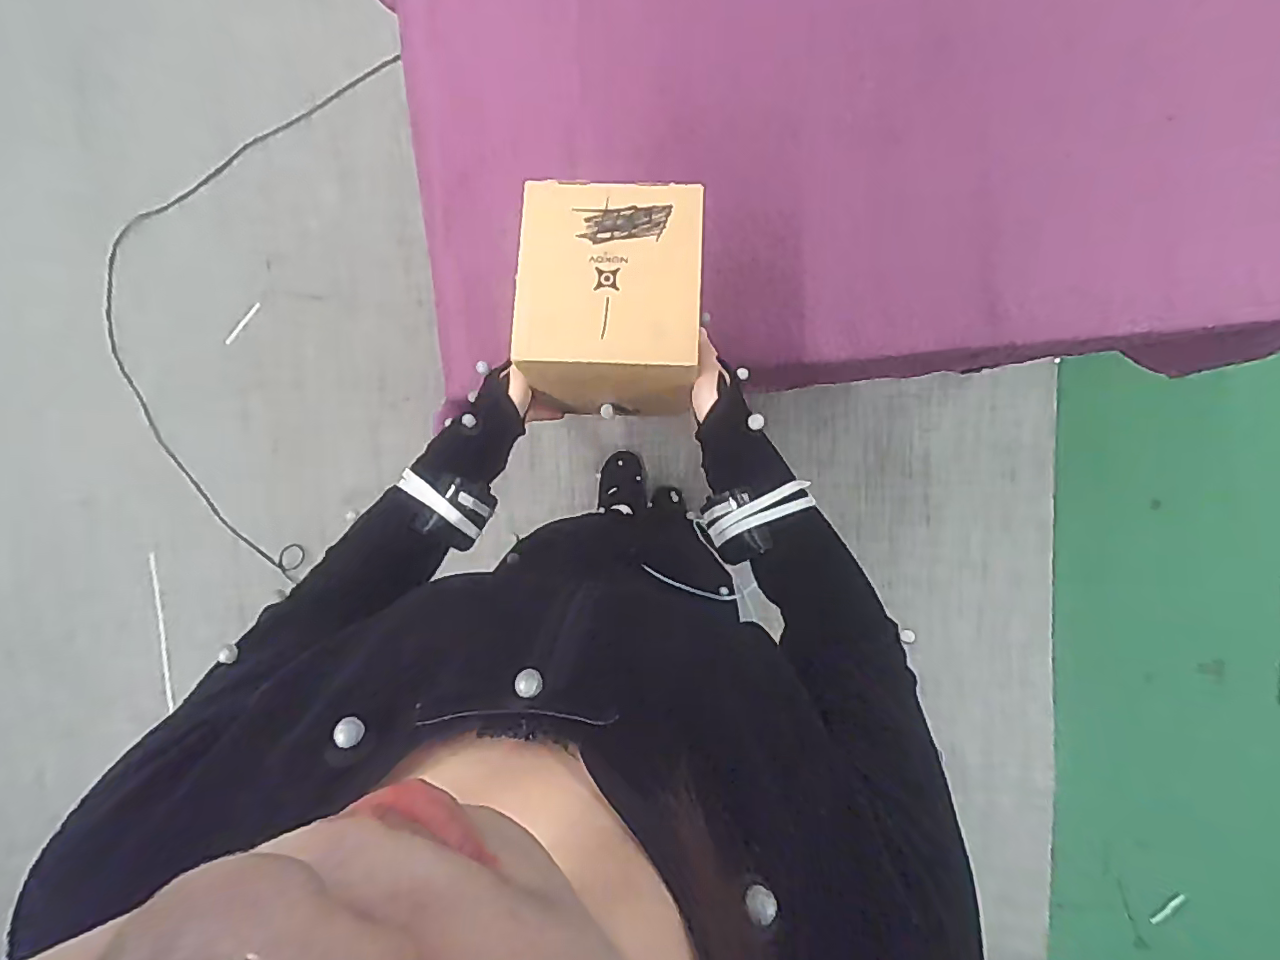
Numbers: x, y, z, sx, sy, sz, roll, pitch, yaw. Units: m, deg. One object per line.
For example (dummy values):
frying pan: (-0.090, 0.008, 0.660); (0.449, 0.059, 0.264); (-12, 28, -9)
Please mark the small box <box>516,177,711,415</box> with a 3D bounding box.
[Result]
small box: (-0.022, -0.177, 0.563); (0.168, 0.176, 0.179); (4, 83, 2)
